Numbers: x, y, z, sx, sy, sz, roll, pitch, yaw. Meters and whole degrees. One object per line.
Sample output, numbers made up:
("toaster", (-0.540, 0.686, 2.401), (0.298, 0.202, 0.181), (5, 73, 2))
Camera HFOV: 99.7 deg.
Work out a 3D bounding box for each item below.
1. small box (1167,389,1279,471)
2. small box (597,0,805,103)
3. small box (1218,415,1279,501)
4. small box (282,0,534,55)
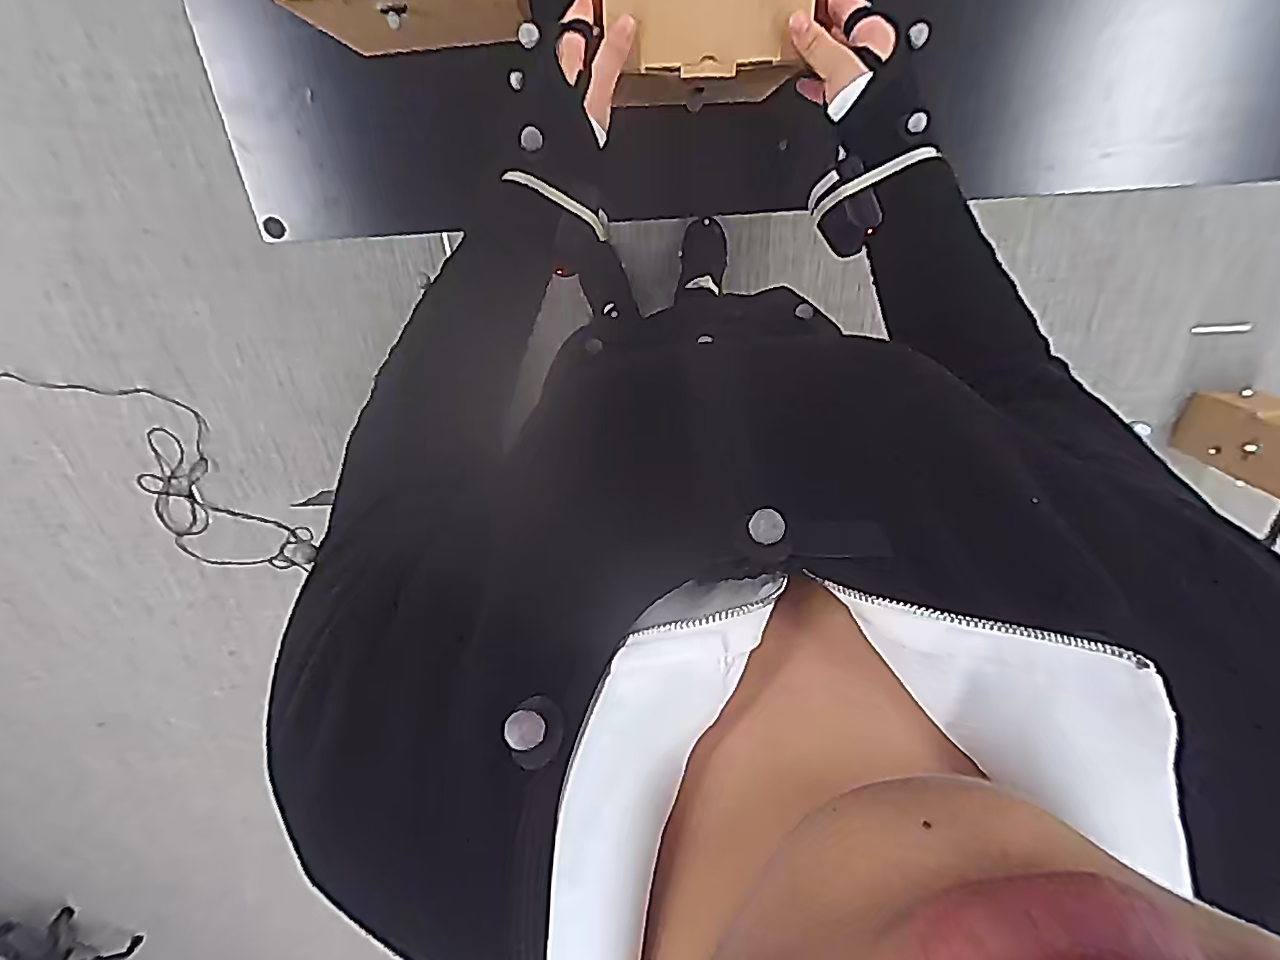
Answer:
("small box", (1.617, -0.139, 1.479), (0.168, 0.176, 0.179), (-2, 117, -1))
("small box", (0.047, -0.445, 0.475), (0.168, 0.176, 0.179), (-3, 117, 0))
("small box", (1.625, -0.059, 1.337), (0.179, 0.176, 0.168), (-2, 116, 1))
("small box", (-0.198, -0.480, 0.449), (0.179, 0.176, 0.168), (-6, 117, 1))
